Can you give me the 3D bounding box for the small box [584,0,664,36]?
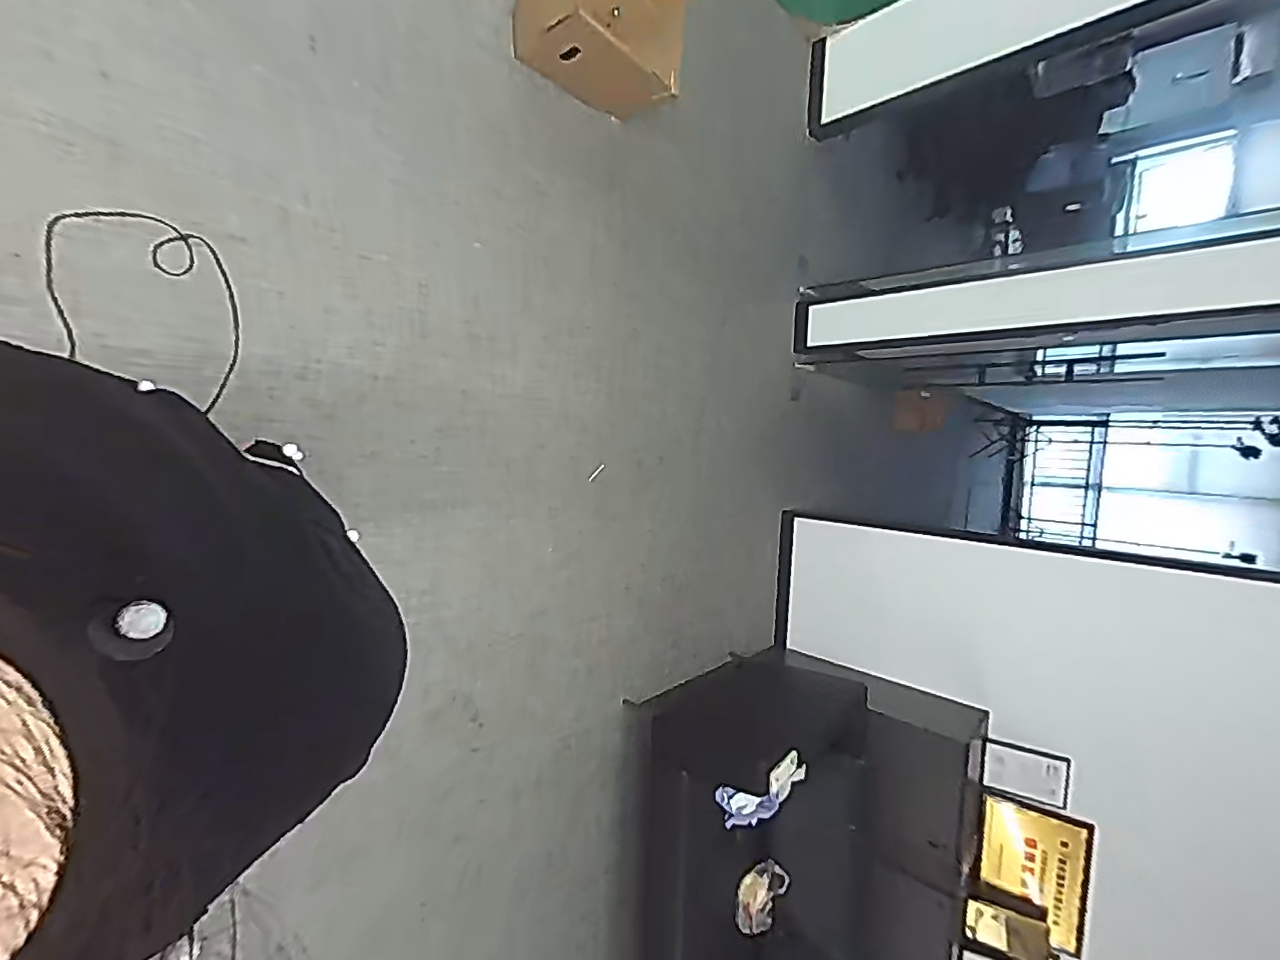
[{"bbox_3d":[-0.046,-1.360,1.456,0.168,0.176,0.179,-1,96,-48],"label":"small box"}]
